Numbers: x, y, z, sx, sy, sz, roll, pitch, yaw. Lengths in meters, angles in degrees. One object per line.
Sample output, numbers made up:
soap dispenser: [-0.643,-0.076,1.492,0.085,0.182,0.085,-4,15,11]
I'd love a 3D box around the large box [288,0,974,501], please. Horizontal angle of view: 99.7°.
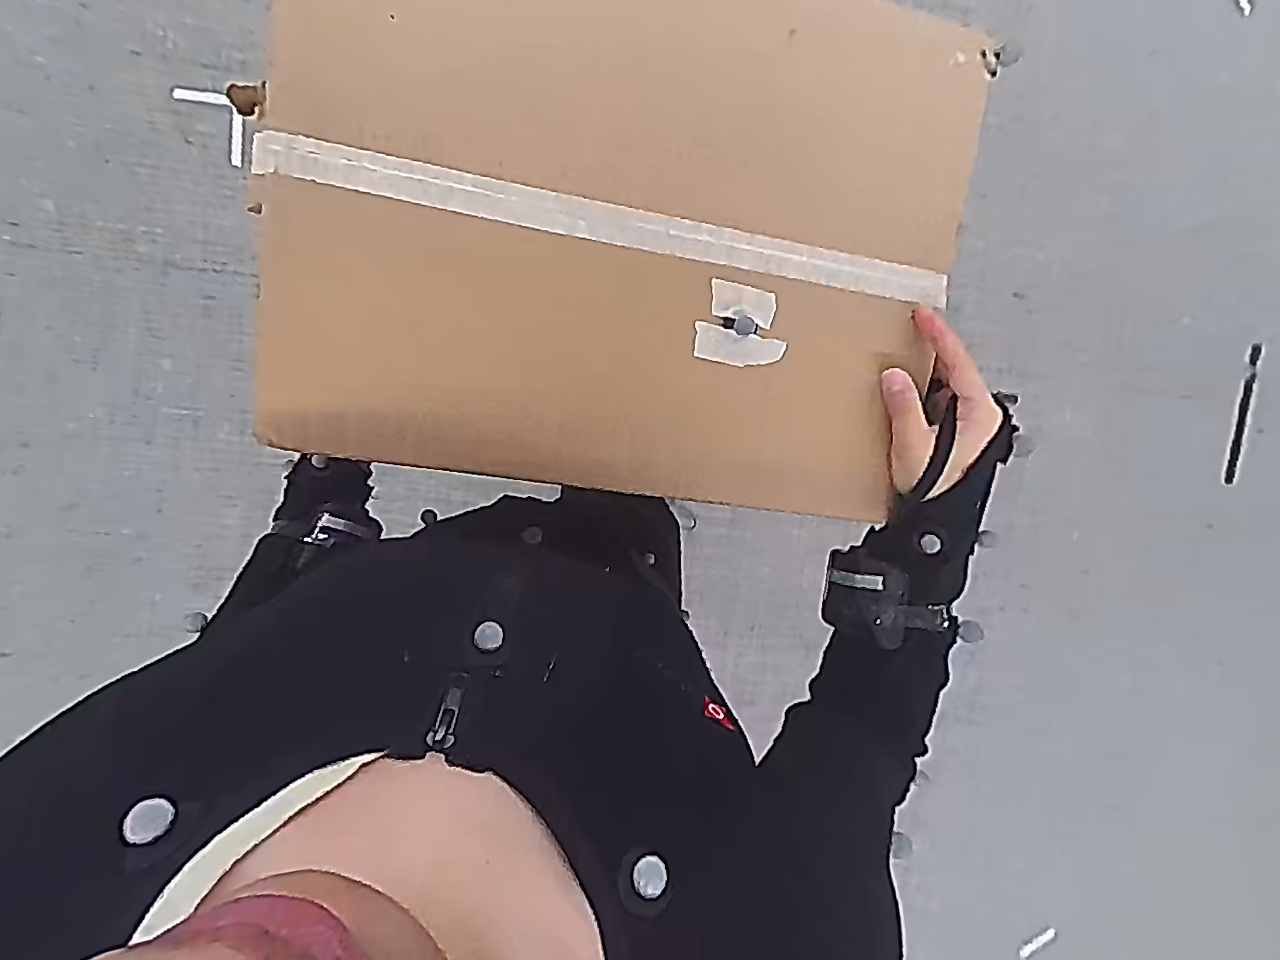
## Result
large box: [-0.021,-0.177,0.477,0.408,0.320,0.320,7,98,-11]
